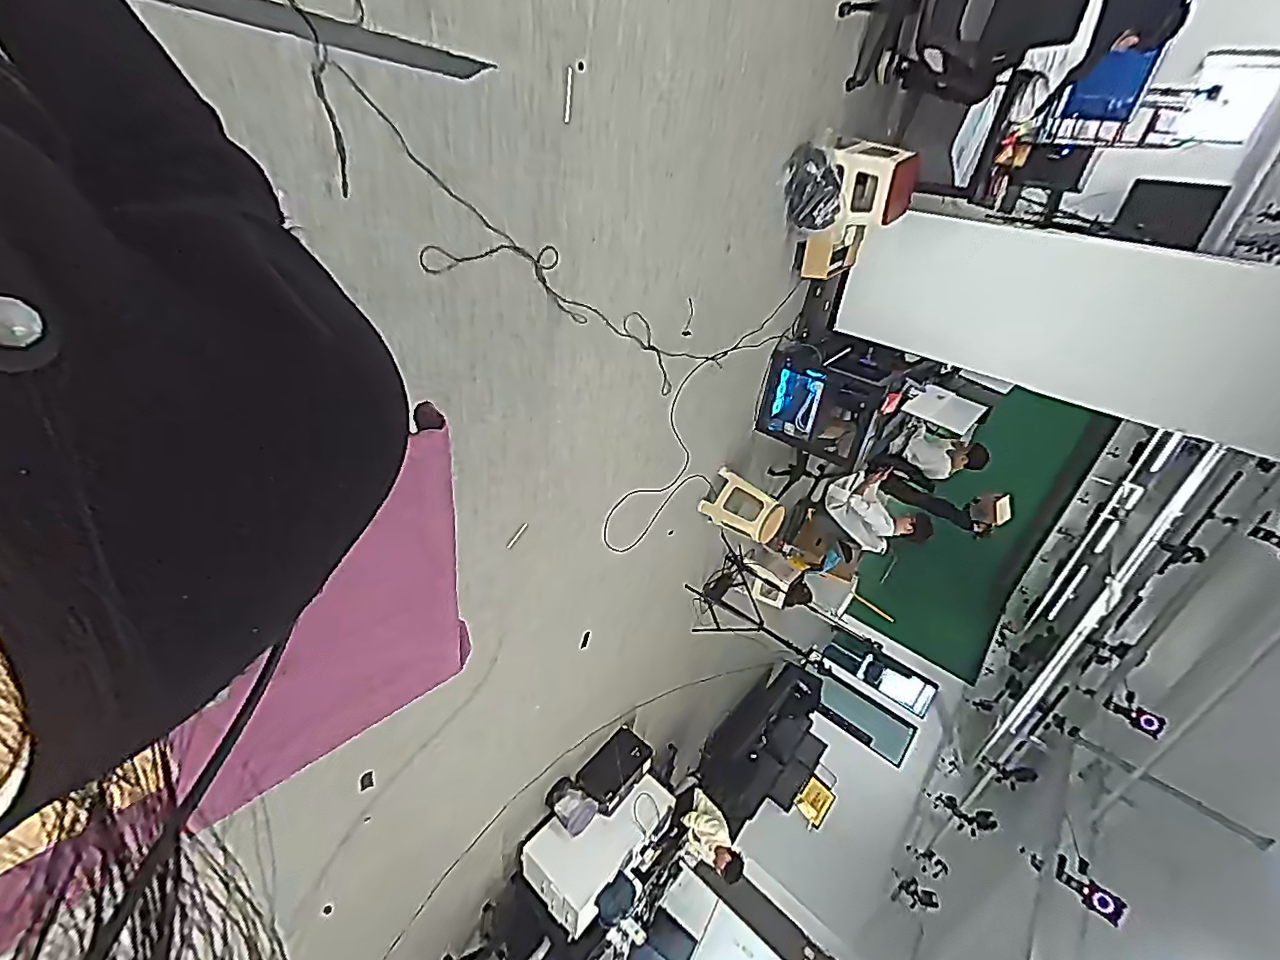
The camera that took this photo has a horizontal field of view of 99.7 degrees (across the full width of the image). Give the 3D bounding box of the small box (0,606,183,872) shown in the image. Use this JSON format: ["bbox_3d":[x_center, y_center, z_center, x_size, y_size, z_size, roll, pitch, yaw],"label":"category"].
[{"bbox_3d":[-0.666,0.280,0.617,0.168,0.176,0.179,-24,134,-46],"label":"small box"}]
